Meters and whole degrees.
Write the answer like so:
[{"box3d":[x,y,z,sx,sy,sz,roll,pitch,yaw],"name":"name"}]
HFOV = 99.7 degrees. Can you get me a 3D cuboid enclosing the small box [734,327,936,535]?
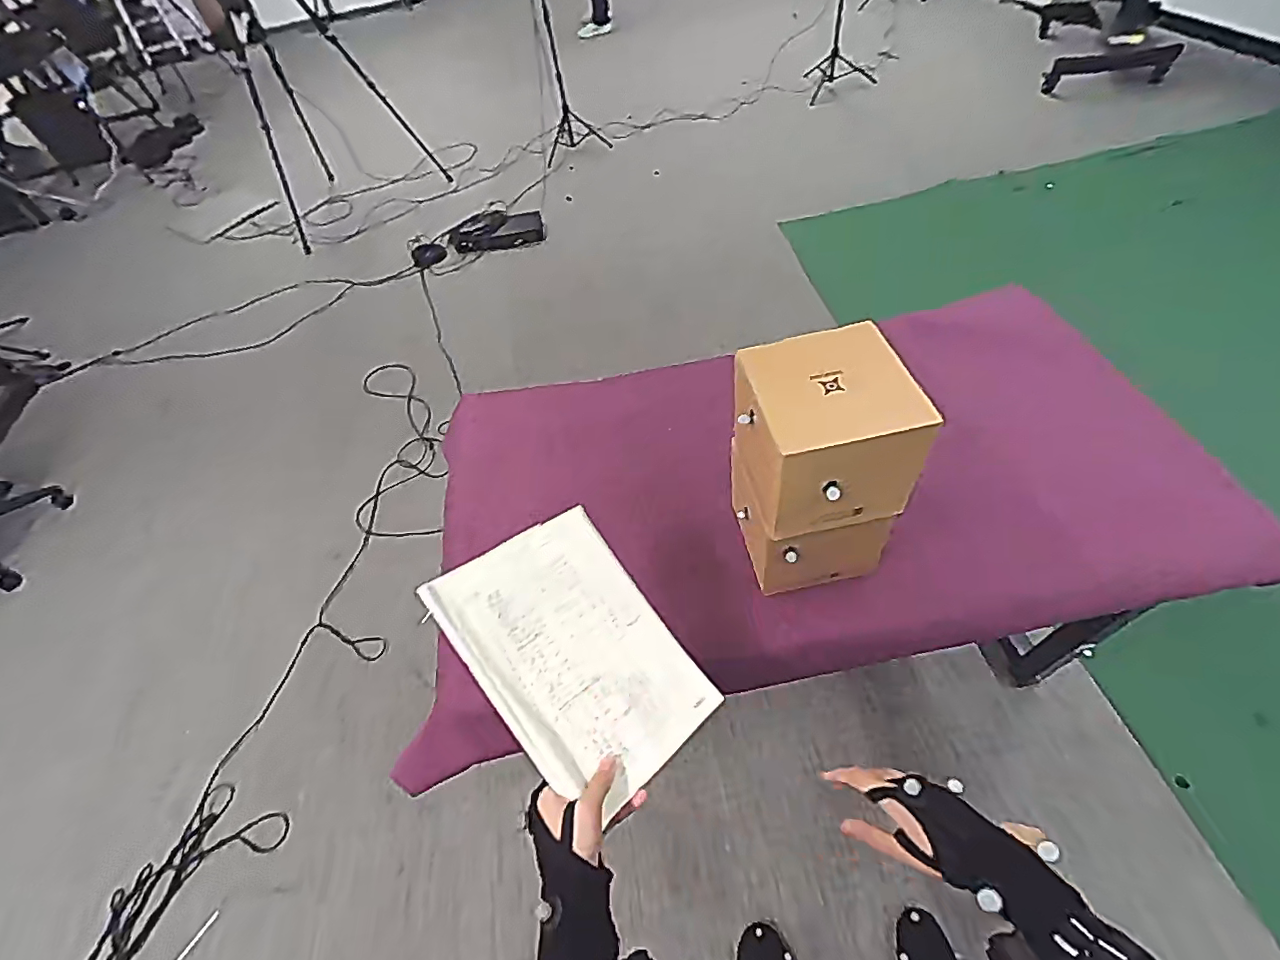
[{"box3d":[0.217,-0.050,0.653,0.168,0.176,0.179,-12,50,0],"name":"small box"}]
